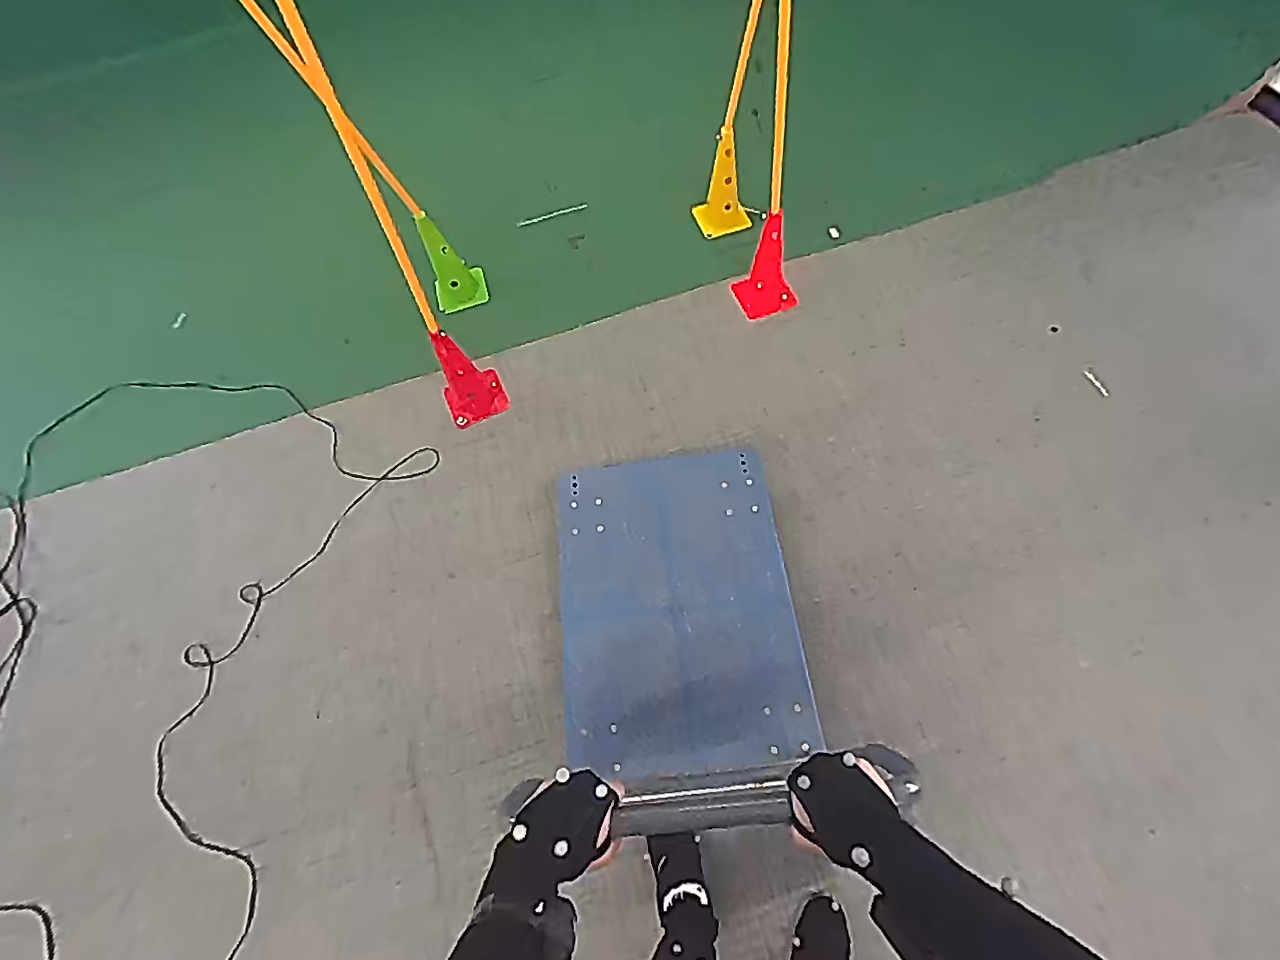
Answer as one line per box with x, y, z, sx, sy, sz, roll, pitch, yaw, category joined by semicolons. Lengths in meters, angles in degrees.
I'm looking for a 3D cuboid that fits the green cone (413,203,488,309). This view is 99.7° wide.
-0.732;-0.851;2.003;0.200;0.368;0.202;-19;62;-2;green cone

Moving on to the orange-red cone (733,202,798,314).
0.446;-0.778;1.845;0.198;0.360;0.199;-18;61;-4;orange-red cone
